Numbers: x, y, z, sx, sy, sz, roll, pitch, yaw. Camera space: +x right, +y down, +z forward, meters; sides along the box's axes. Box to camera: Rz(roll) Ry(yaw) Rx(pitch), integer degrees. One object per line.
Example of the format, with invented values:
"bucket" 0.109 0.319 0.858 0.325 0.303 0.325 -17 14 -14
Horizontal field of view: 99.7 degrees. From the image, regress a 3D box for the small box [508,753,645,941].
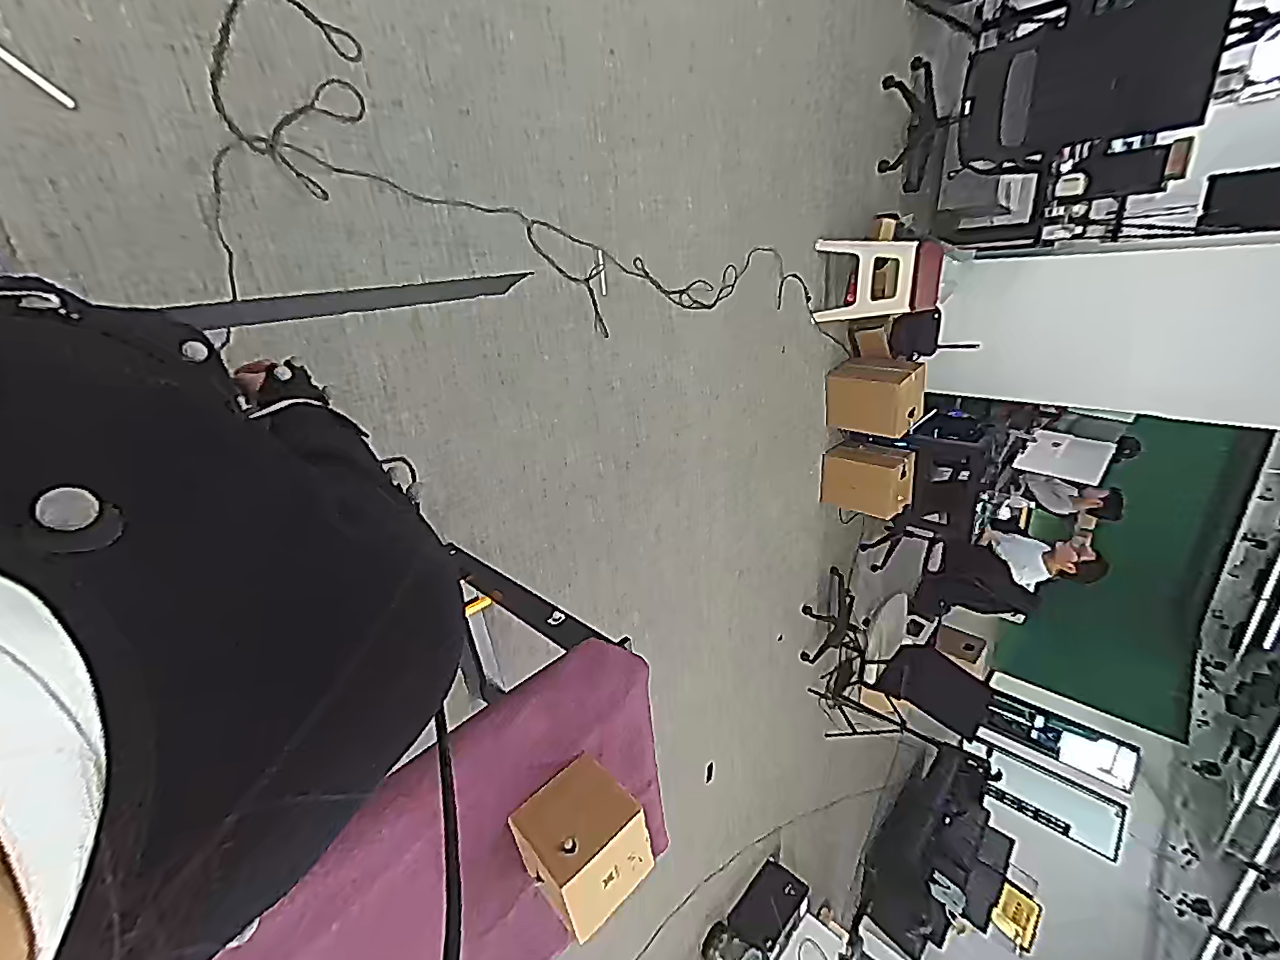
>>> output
"small box" -0.116 0.639 0.962 0.179 0.176 0.168 -27 121 -36
